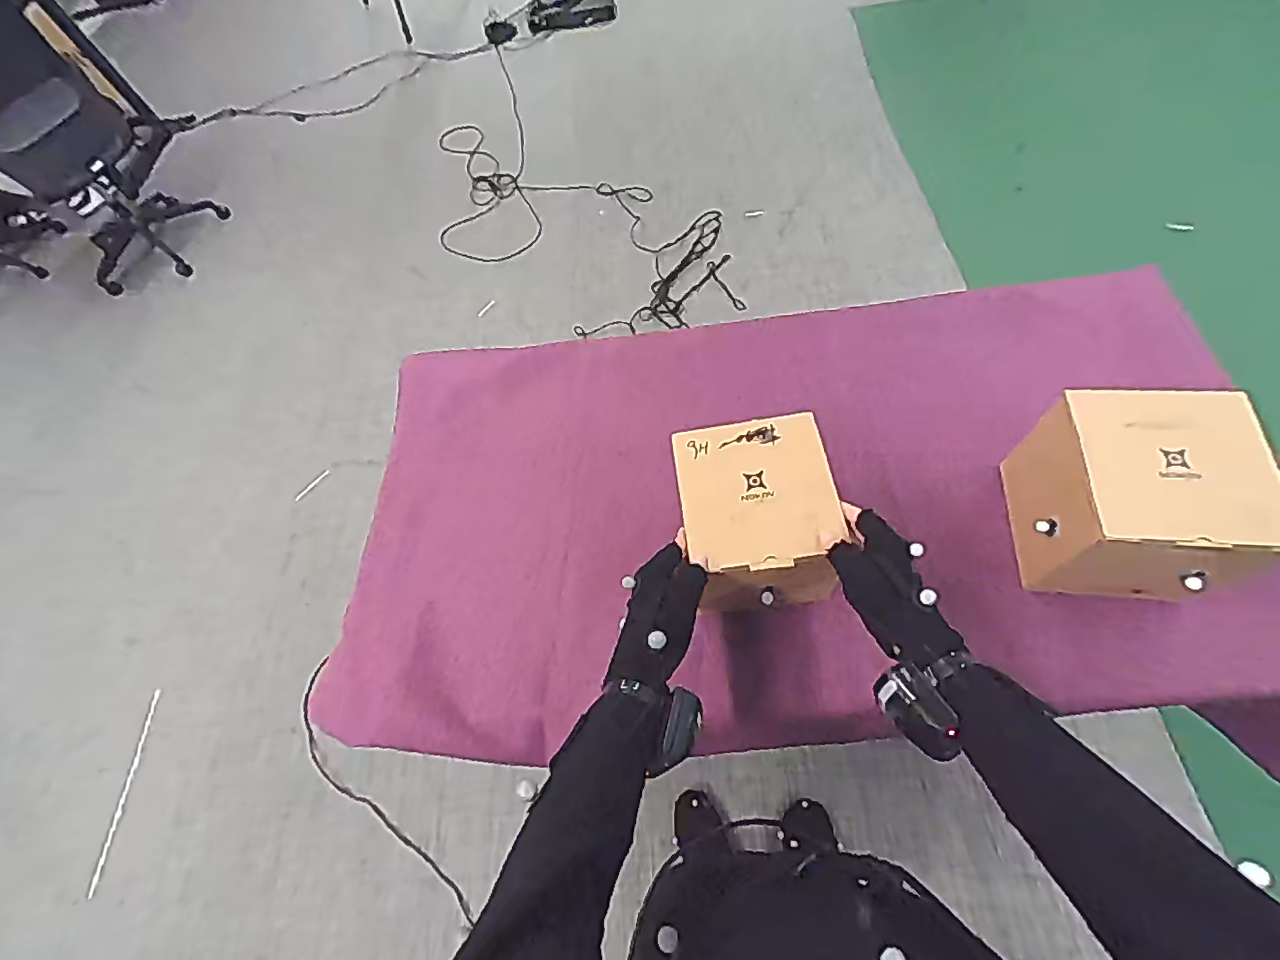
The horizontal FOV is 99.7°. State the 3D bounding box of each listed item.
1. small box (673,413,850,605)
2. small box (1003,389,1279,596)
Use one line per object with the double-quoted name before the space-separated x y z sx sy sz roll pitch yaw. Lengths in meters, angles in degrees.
"small box" 0.138 0.046 0.655 0.168 0.176 0.179 -9 62 5
"small box" 0.536 0.019 0.598 0.168 0.176 0.179 3 63 12
